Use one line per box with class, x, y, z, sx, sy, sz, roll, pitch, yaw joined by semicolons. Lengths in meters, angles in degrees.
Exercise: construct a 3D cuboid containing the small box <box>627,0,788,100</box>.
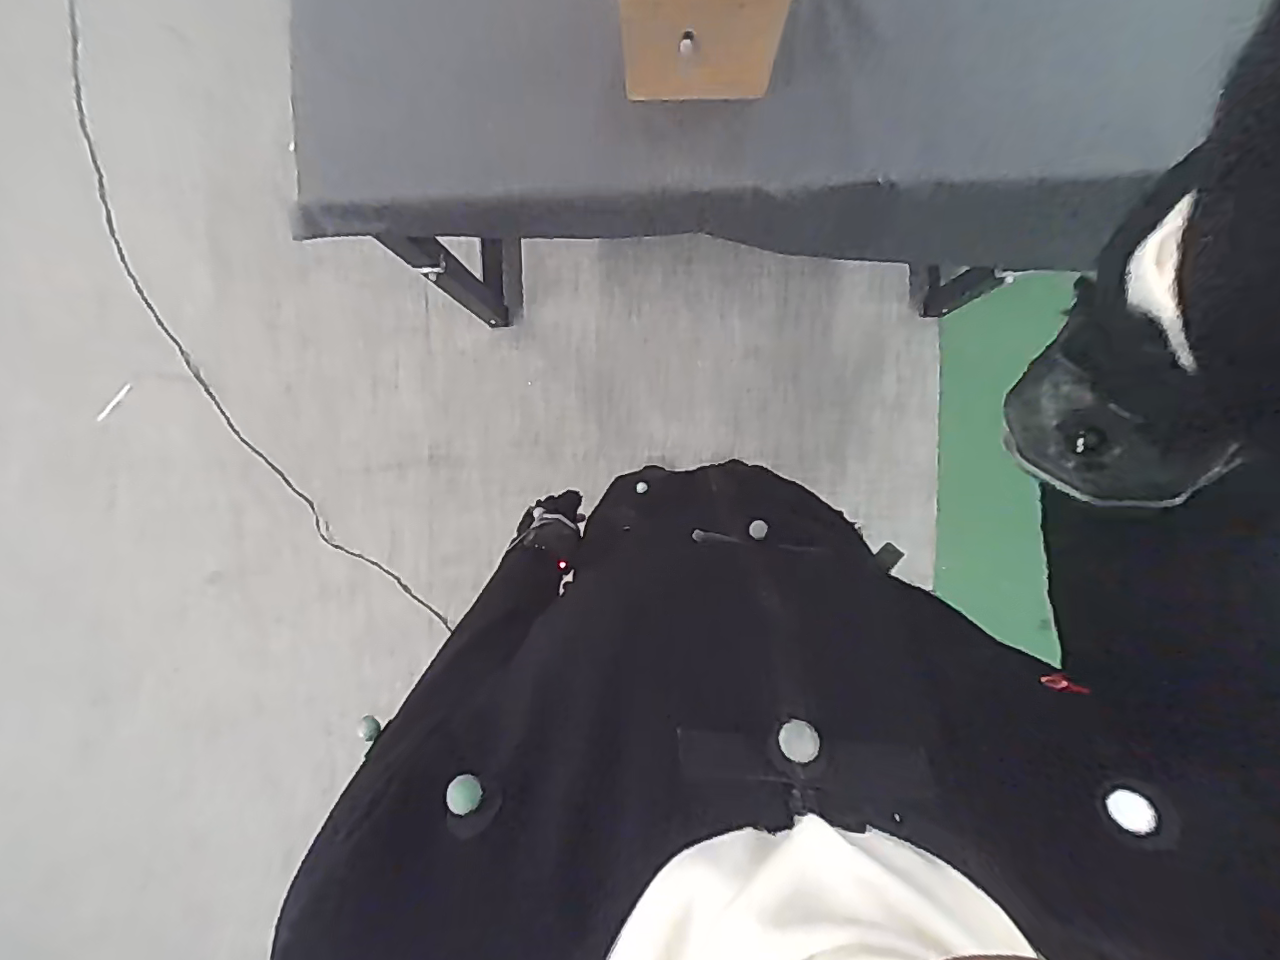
small box;0.072;-0.569;0.615;0.179;0.176;0.168;-2;90;2
